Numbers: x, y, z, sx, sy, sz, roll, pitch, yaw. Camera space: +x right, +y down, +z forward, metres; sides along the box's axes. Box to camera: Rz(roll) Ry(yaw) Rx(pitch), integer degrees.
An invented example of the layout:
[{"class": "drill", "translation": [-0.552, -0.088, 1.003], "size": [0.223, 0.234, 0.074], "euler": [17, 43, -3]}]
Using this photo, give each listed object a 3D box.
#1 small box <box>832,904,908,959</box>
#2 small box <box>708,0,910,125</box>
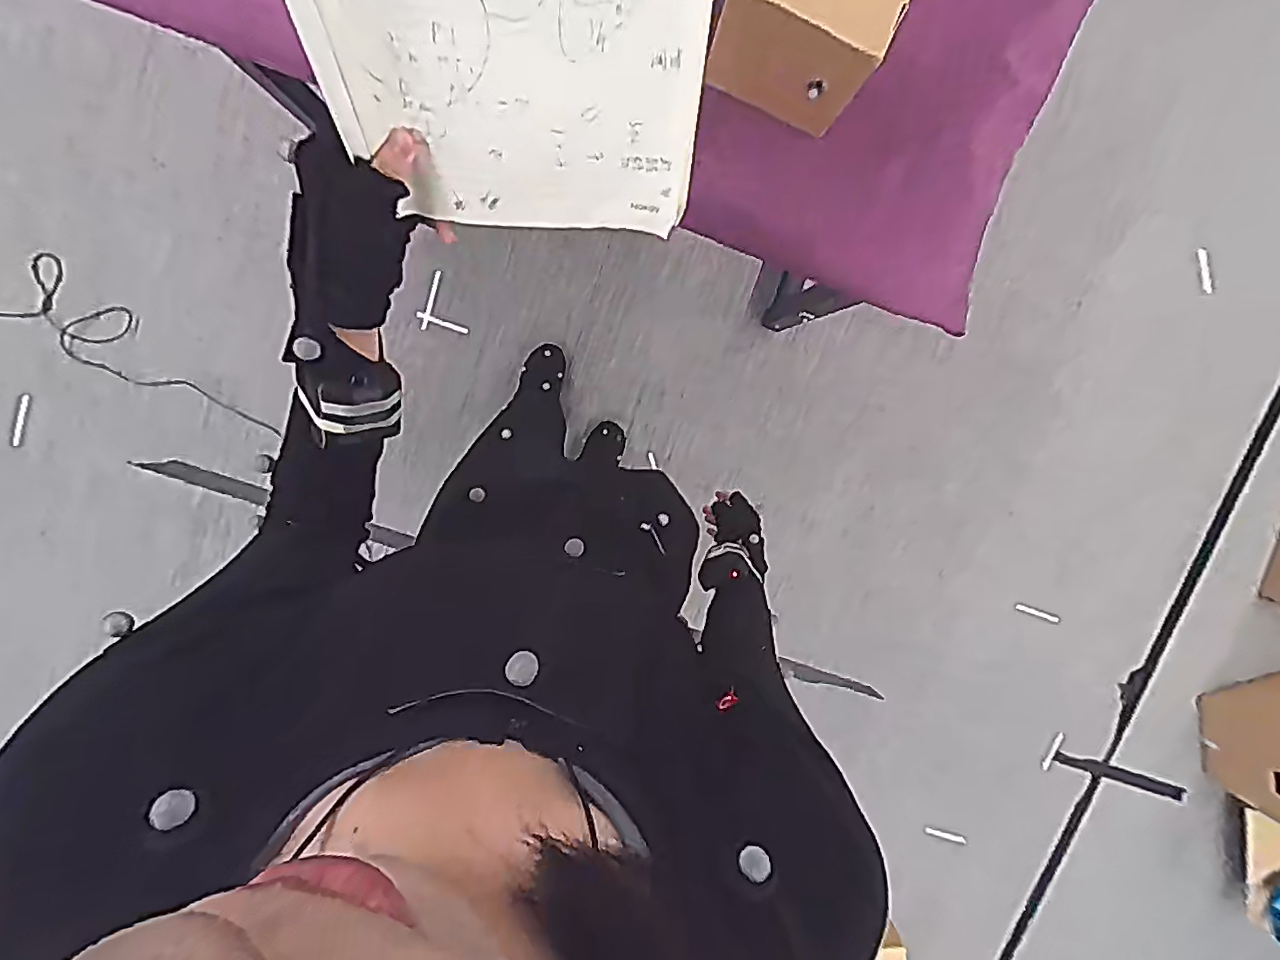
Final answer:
[{"class": "small box", "translation": [0.725, 1.501, 1.717], "size": [0.168, 0.176, 0.179], "euler": [-3, 98, -4]}, {"class": "small box", "translation": [0.197, -0.548, 0.614], "size": [0.179, 0.176, 0.168], "euler": [22, 95, -6]}]
